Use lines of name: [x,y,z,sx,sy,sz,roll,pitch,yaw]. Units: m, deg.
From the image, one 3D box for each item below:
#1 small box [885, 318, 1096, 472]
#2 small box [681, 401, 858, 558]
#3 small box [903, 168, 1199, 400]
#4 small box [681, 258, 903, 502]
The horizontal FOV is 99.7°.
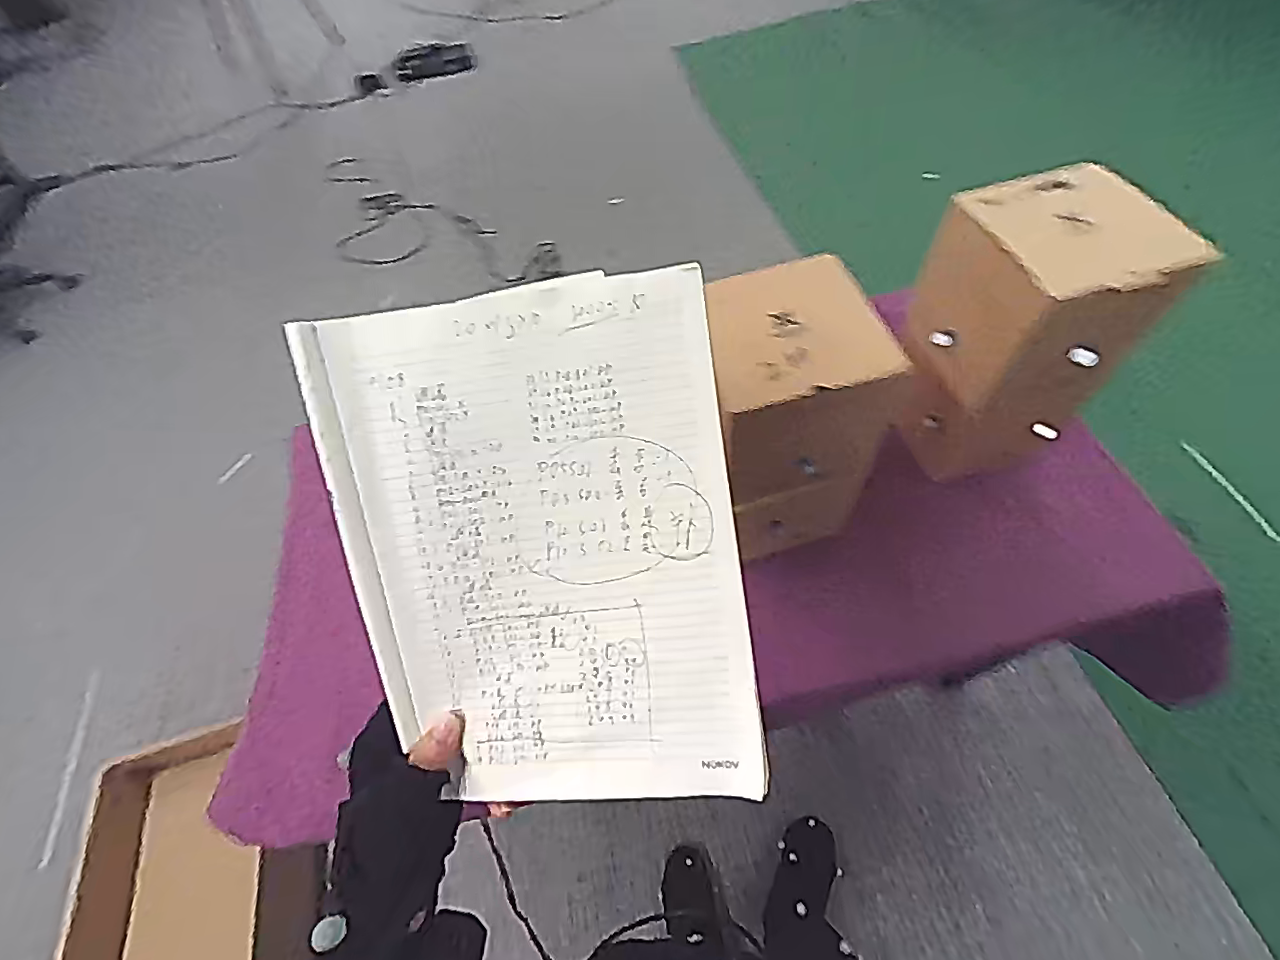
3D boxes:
small box: [0.459,-0.128,0.755,0.168,0.176,0.179,-14,58,-2]
small box: [0.162,-0.012,0.724,0.168,0.176,0.179,-17,58,-3]
small box: [0.436,-0.210,0.615,0.168,0.176,0.179,-14,59,-2]
small box: [0.145,-0.103,0.587,0.168,0.176,0.179,-14,58,-1]
